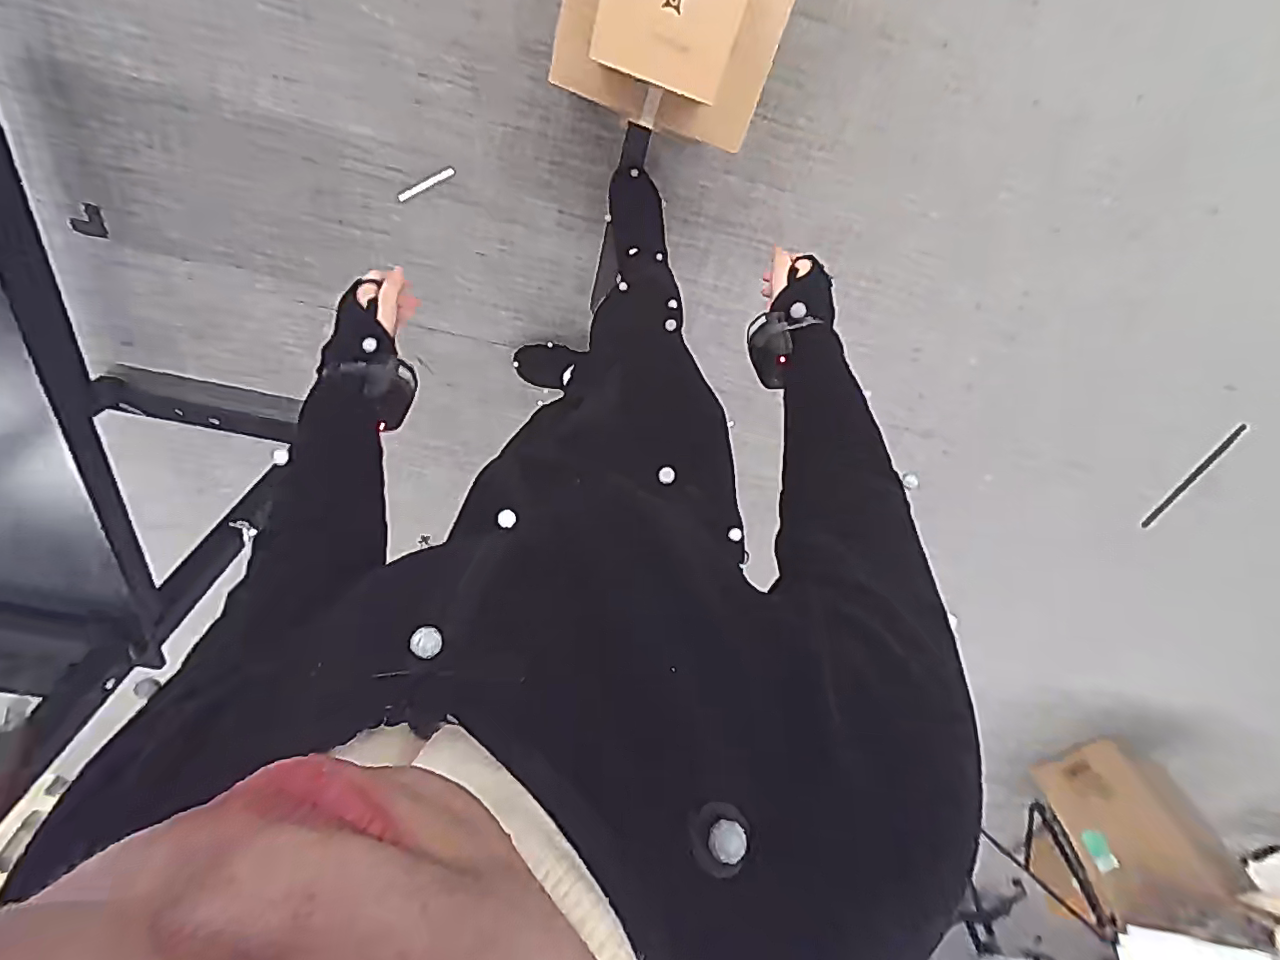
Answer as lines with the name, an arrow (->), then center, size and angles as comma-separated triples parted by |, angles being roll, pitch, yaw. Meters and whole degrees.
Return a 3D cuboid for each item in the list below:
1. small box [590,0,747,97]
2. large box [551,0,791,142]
small box -> 0.043, -0.609, 0.674 | 0.168, 0.176, 0.179 | 15, 125, -10
large box -> 0.067, -0.804, 0.835 | 0.320, 0.320, 0.408 | 13, 124, -12
